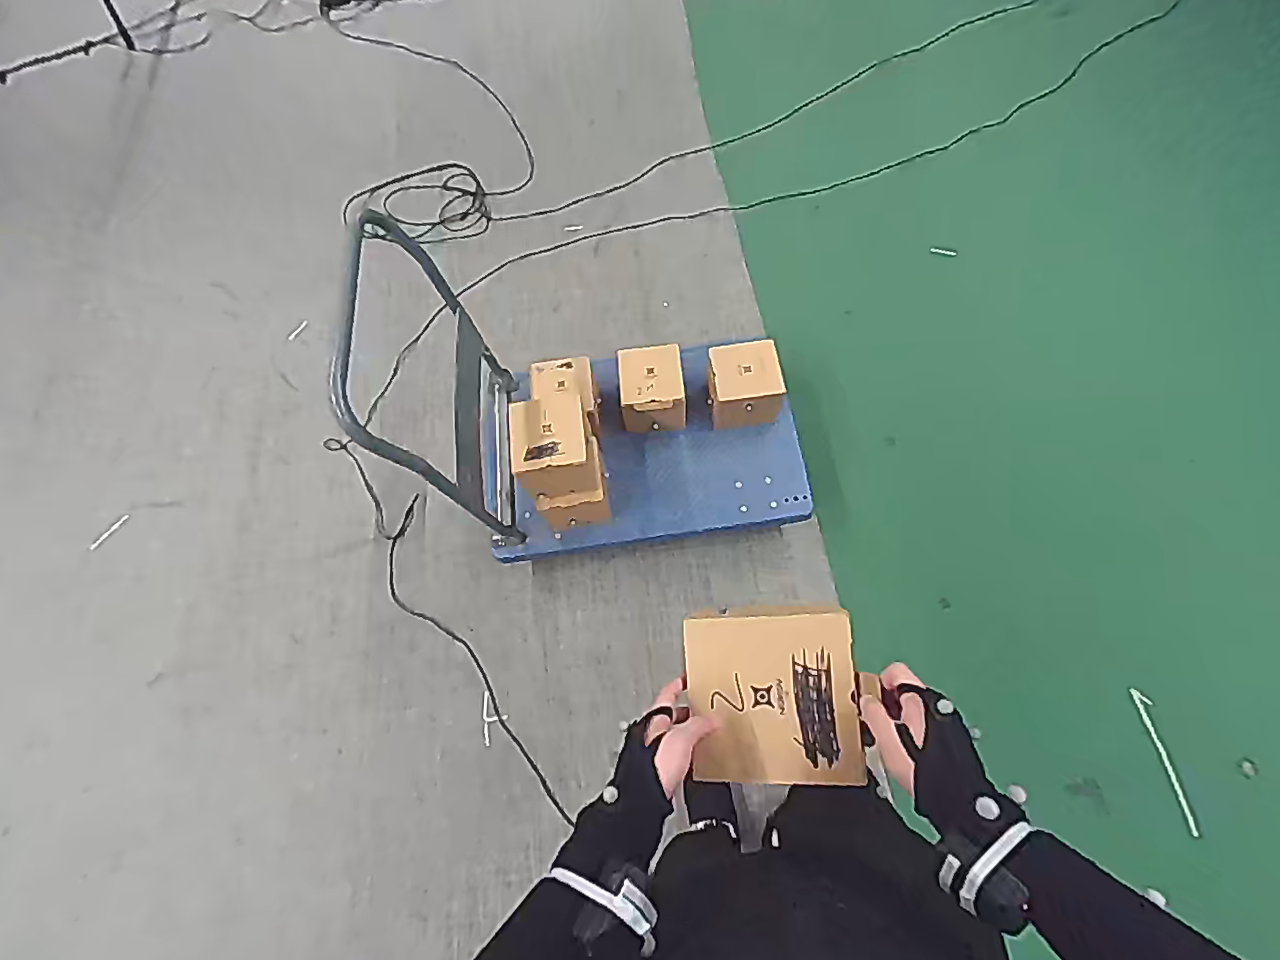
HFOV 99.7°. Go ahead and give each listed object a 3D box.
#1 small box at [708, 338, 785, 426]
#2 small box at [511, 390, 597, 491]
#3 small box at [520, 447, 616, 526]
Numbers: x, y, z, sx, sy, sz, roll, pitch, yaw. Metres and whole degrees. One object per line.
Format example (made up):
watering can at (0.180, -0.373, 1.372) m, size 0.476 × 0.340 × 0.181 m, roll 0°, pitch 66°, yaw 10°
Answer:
small box at (0.281, -0.259, 1.469) m, size 0.179 × 0.176 × 0.168 m, roll -7°, pitch 68°, yaw 2°
small box at (-0.196, -0.082, 1.259) m, size 0.168 × 0.176 × 0.179 m, roll -8°, pitch 67°, yaw 1°
small box at (-0.179, 0.004, 1.408) m, size 0.179 × 0.176 × 0.168 m, roll 20°, pitch 72°, yaw 13°
